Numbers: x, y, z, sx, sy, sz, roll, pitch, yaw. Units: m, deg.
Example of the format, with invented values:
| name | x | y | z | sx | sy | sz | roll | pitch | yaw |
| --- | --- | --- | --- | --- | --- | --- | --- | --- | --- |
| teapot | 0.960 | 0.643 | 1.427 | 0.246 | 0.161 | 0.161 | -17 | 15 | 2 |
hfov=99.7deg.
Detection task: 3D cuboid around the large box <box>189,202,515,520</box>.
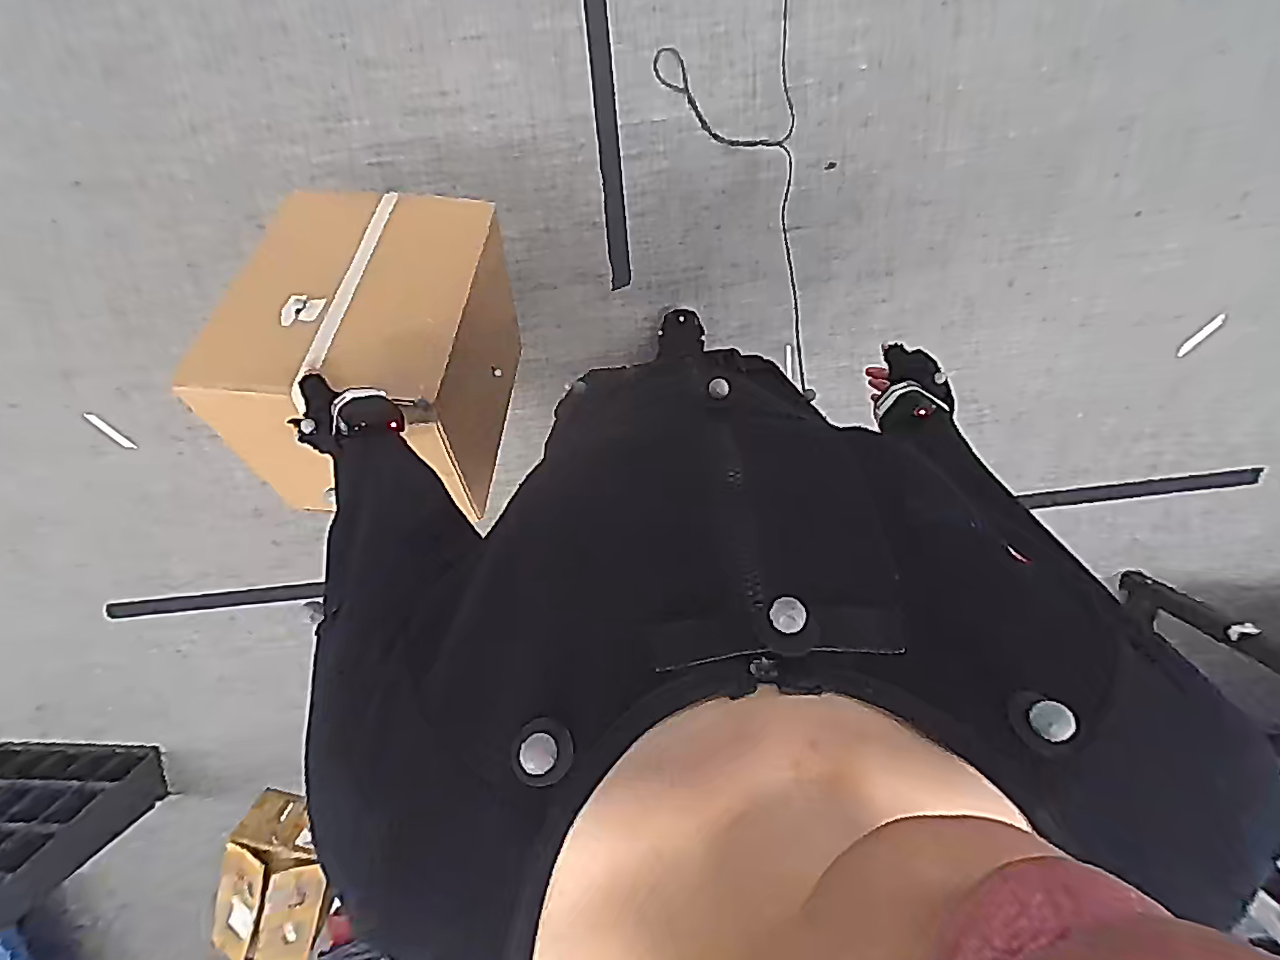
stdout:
| name | x | y | z | sx | sy | sz | roll | pitch | yaw |
| --- | --- | --- | --- | --- | --- | --- | --- | --- | --- |
| large box | -0.401 | -0.185 | 0.886 | 0.320 | 0.408 | 0.320 | 3 | 149 | -1 |
